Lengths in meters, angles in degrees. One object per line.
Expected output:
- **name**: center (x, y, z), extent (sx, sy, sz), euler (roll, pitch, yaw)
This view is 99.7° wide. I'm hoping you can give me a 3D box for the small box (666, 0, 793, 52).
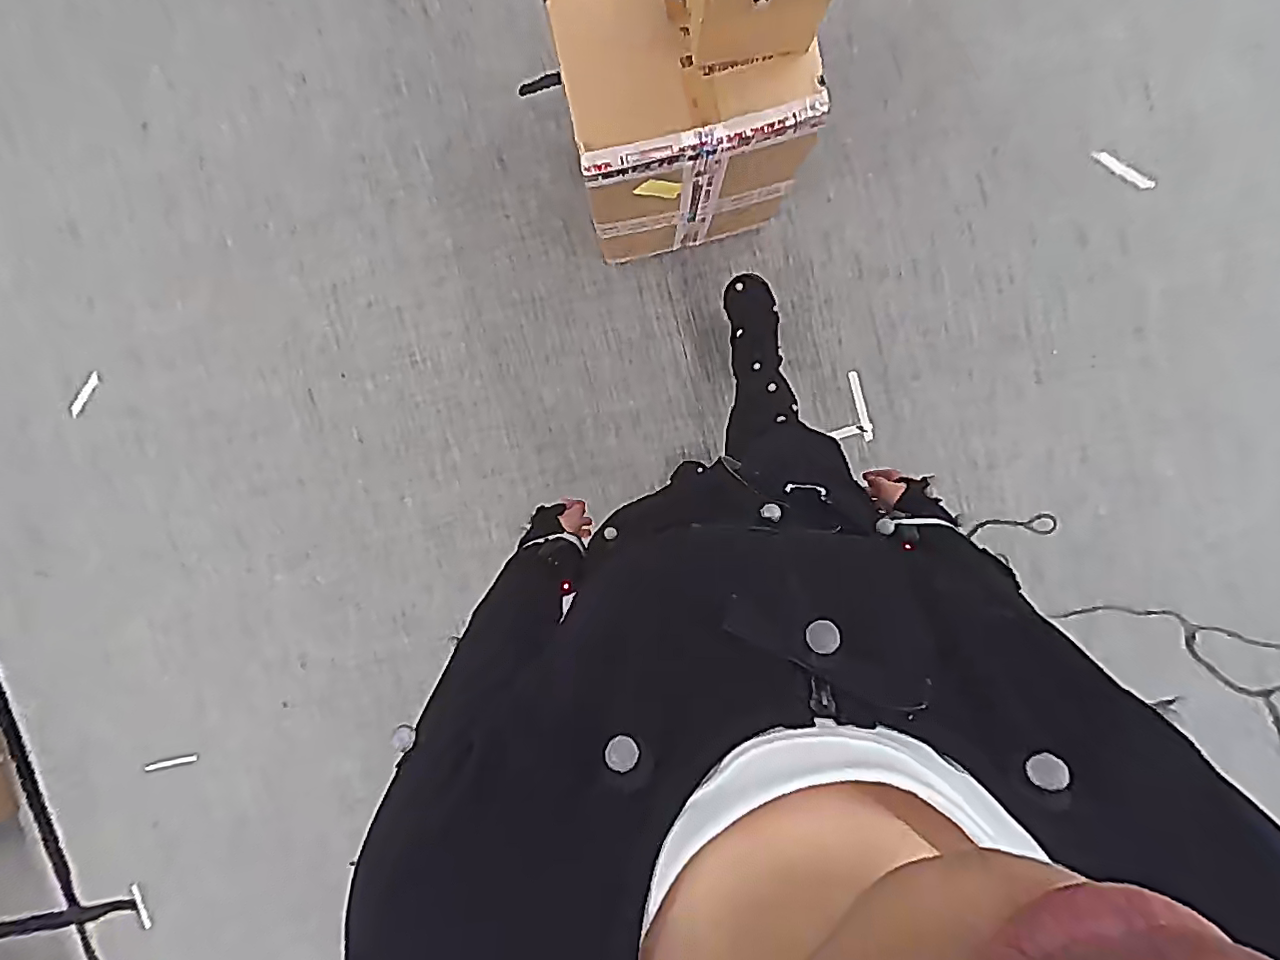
- **small box**: center (0.119, -0.727, 0.730), extent (0.179, 0.176, 0.168), euler (-11, 96, 1)
